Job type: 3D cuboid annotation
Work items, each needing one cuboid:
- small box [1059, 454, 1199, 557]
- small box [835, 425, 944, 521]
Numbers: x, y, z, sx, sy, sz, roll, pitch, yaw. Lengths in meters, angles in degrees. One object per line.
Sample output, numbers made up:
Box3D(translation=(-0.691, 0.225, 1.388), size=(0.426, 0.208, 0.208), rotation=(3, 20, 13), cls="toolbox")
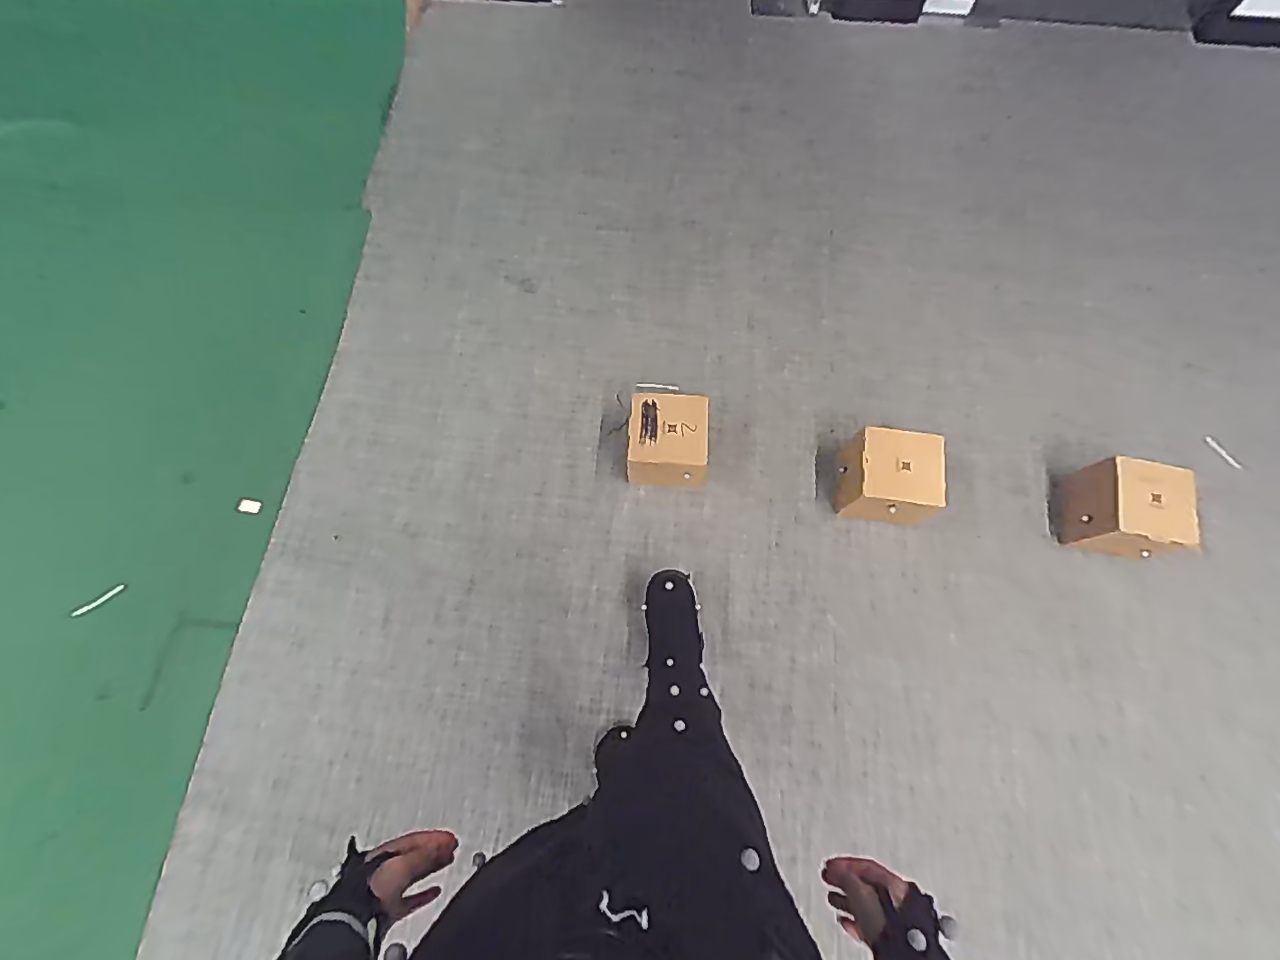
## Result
Box3D(translation=(1.082, 0.065, 1.213), size=(0.168, 0.176, 0.179), rotation=(12, 72, 2), cls="small box")
Box3D(translation=(0.565, -0.010, 1.236), size=(0.179, 0.176, 0.168), rotation=(8, 73, 3), cls="small box")
